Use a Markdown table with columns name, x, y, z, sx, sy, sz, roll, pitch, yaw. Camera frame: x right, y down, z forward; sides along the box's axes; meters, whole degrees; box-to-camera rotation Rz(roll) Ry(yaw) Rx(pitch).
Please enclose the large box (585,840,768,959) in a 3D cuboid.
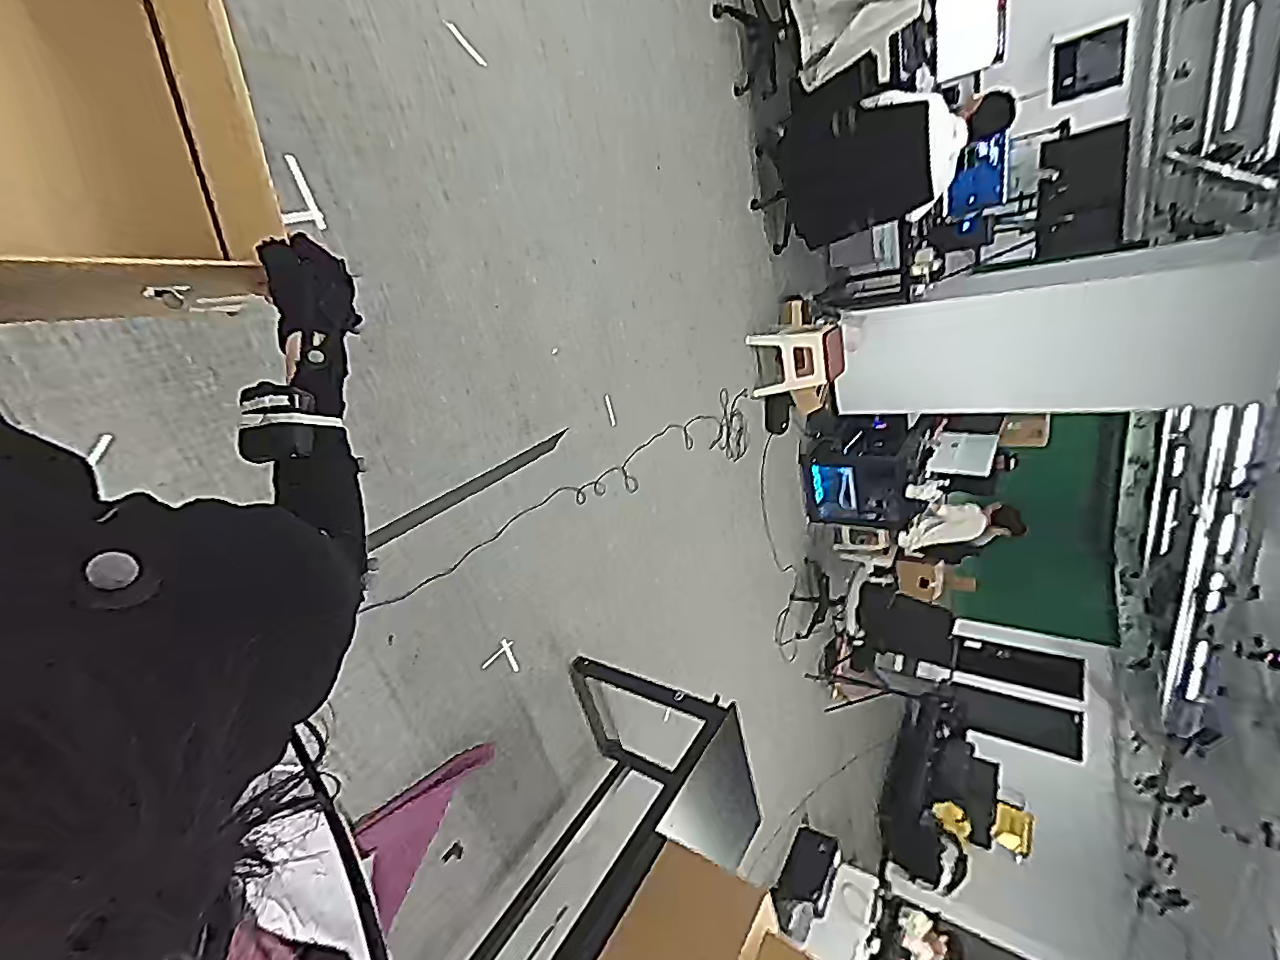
| name | x | y | z | sx | sy | sz | roll | pitch | yaw |
| --- | --- | --- | --- | --- | --- | --- | --- | --- | --- |
| large box | 0.089 | 1.254 | 1.382 | 0.408 | 0.320 | 0.320 | -39 | 123 | -43 |
